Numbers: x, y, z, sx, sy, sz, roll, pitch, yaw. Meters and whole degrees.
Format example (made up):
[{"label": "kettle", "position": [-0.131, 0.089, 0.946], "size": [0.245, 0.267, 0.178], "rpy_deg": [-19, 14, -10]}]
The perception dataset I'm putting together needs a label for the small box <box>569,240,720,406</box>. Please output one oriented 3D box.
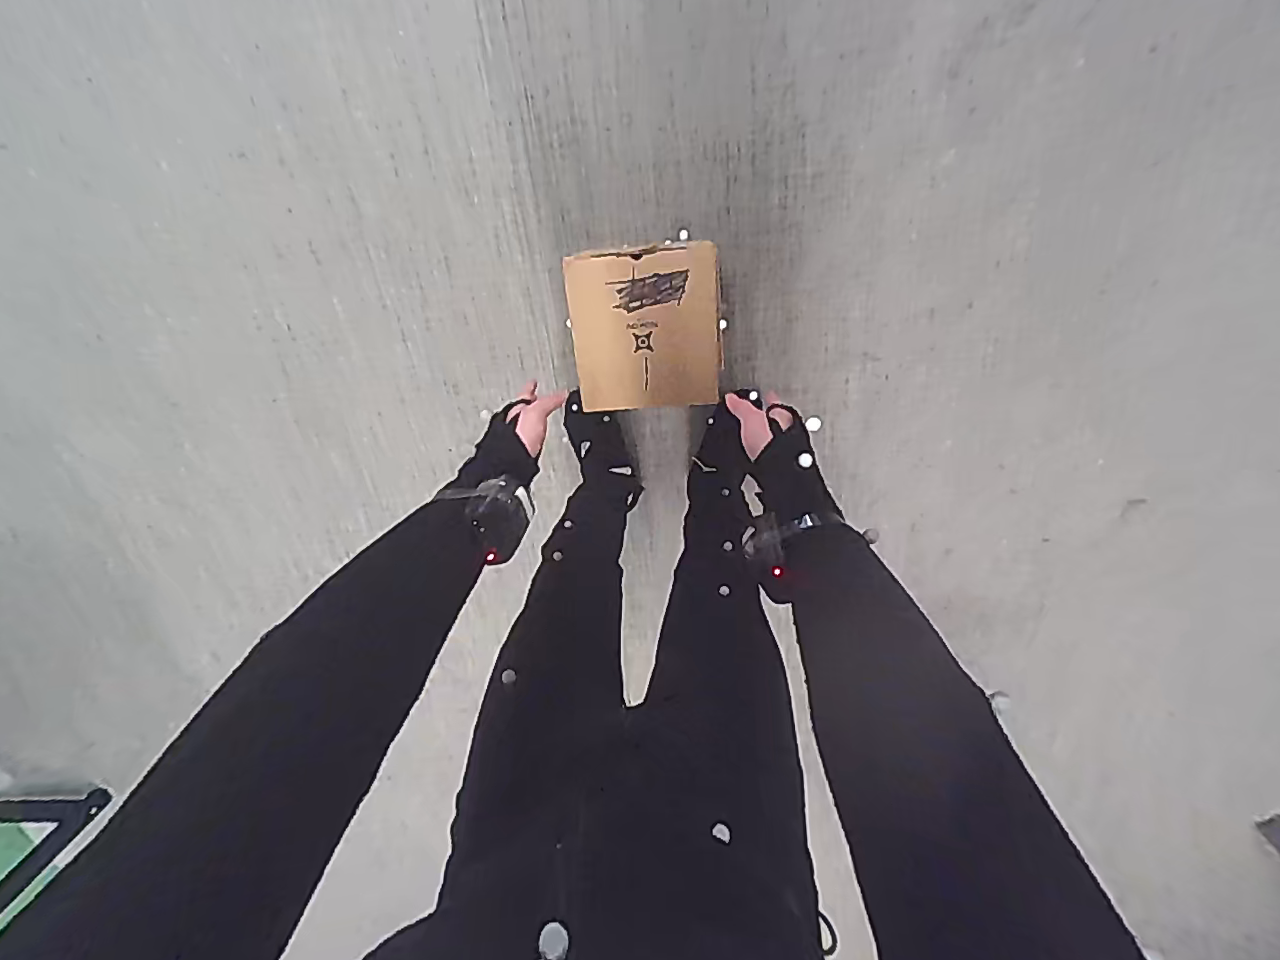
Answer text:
[{"label": "small box", "position": [0.014, -0.204, 0.687], "size": [0.168, 0.176, 0.179], "rpy_deg": [-2, 115, 7]}]
